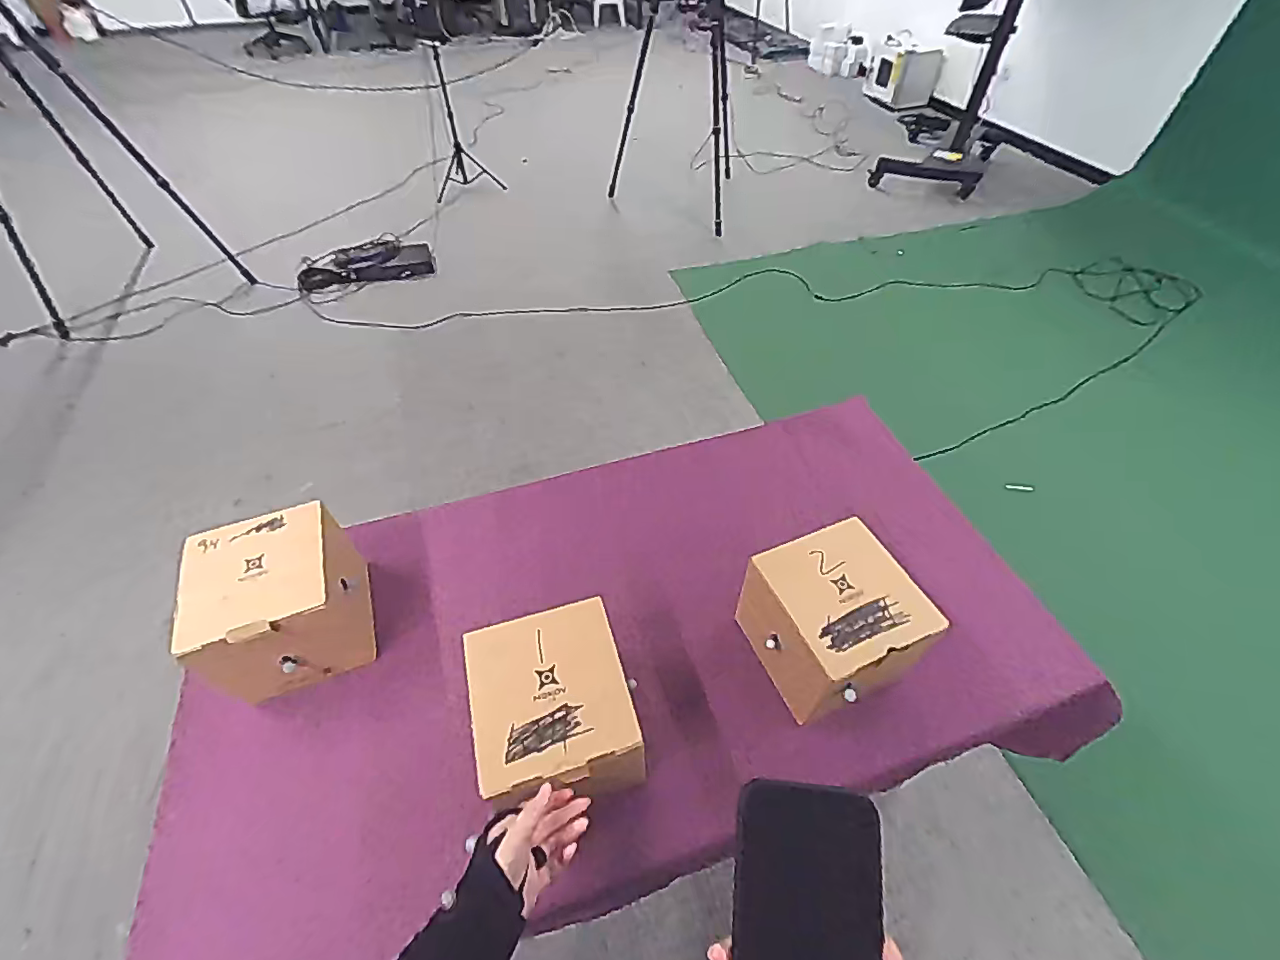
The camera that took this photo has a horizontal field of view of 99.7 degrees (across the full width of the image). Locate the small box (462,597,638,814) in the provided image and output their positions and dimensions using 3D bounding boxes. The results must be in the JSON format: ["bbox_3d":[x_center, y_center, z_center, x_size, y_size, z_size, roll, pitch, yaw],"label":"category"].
[{"bbox_3d":[-0.102,0.273,0.642,0.168,0.176,0.179,-14,50,-11],"label":"small box"}]

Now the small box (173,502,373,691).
[{"bbox_3d":[-0.481,0.165,0.734,0.168,0.176,0.179,-17,53,-15],"label":"small box"}]
